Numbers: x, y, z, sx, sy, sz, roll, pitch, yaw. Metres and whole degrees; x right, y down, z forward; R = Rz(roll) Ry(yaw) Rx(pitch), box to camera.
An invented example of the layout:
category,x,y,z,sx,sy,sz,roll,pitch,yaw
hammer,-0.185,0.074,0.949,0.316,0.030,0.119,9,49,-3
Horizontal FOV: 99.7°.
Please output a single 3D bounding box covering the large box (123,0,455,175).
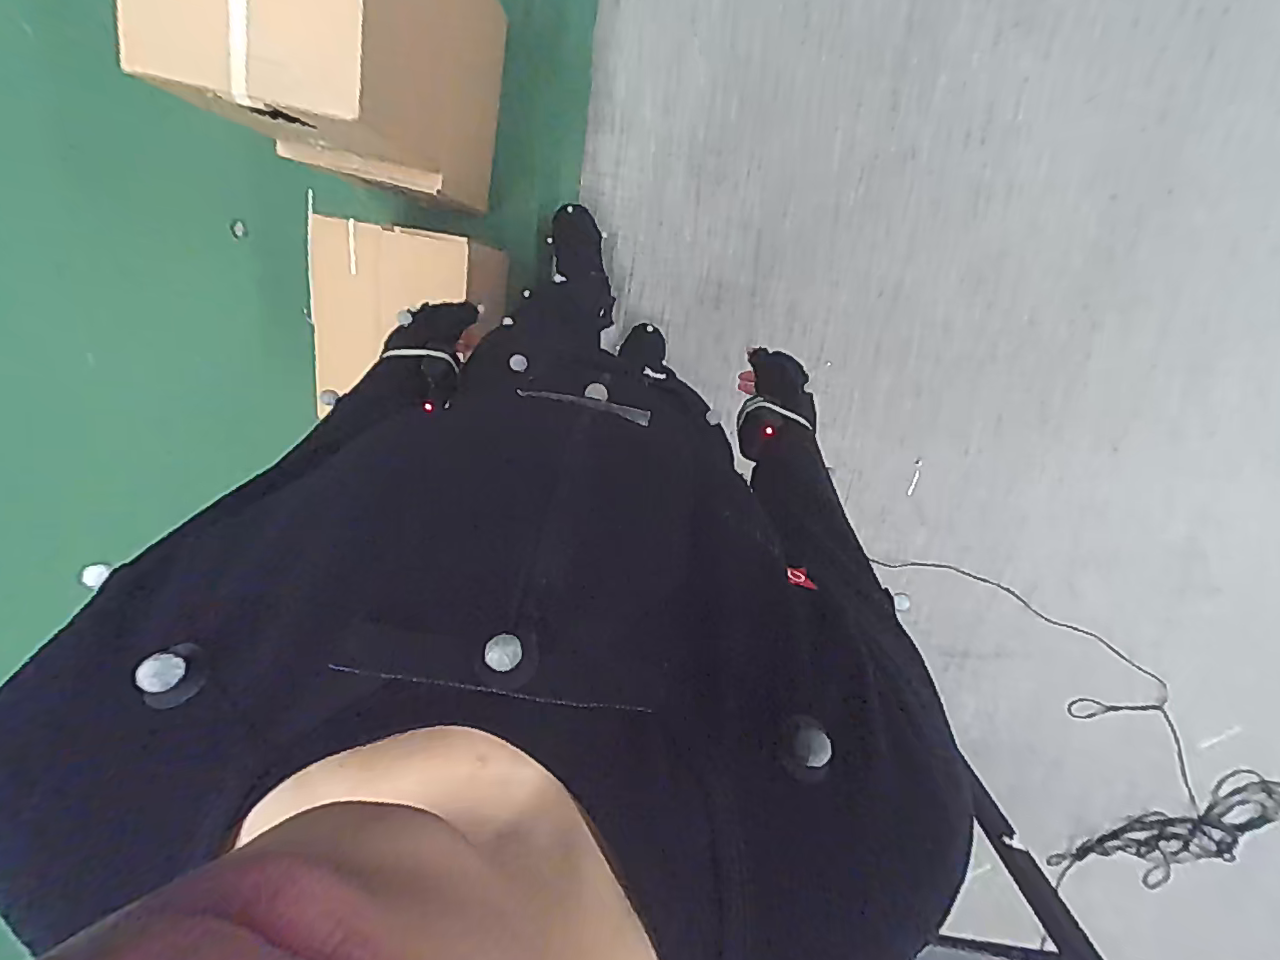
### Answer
category,x,y,z,sx,sy,sz,roll,pitch,yaw
large box,-0.481,-0.732,0.801,0.320,0.320,0.408,11,106,-3
